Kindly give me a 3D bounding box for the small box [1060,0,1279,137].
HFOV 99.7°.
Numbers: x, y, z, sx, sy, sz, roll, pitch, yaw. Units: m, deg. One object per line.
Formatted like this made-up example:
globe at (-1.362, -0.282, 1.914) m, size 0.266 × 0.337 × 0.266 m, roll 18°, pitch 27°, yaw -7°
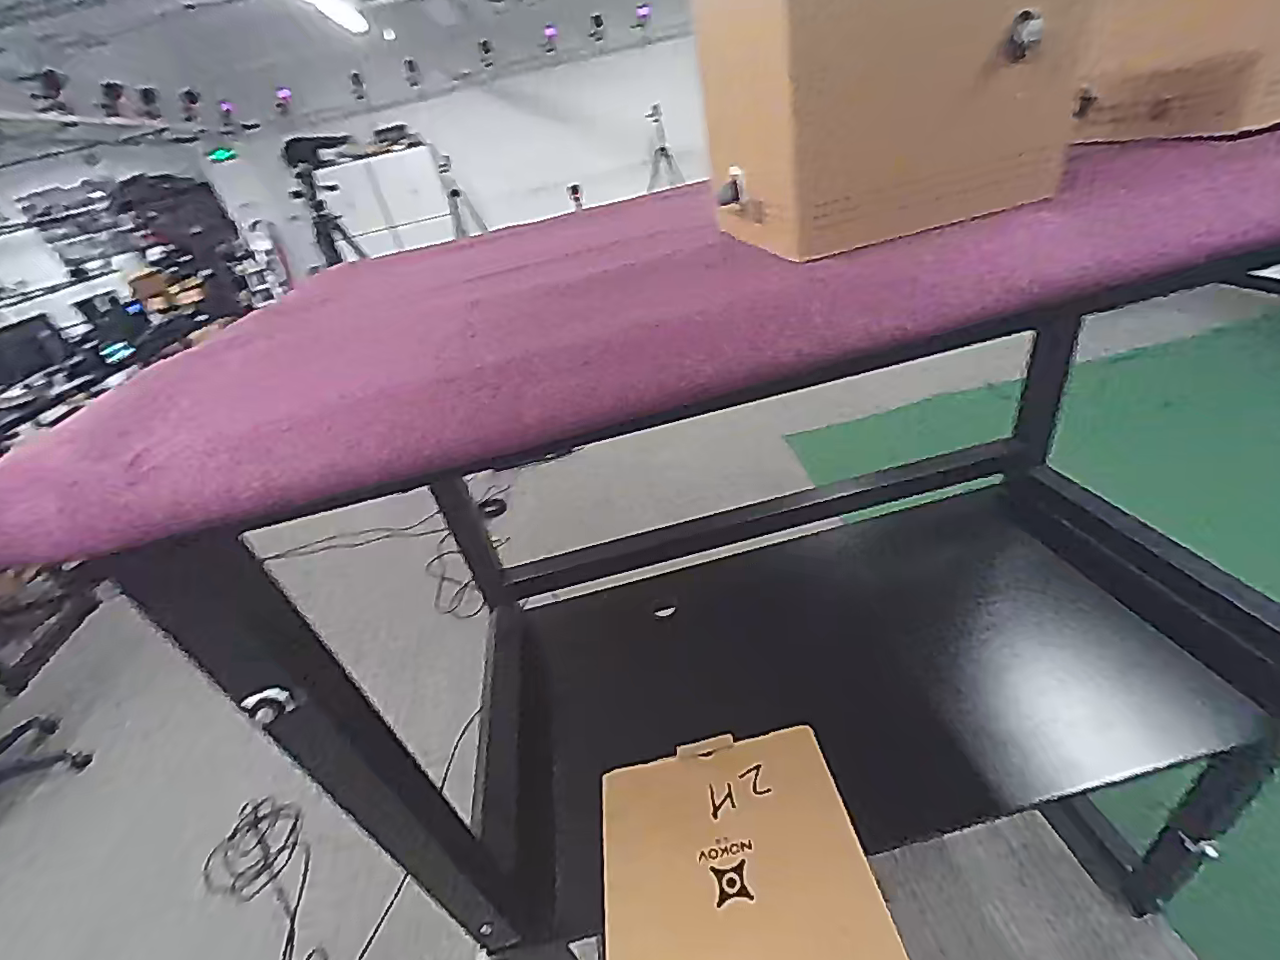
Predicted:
small box at (0.448, -0.360, 0.390) m, size 0.179 × 0.176 × 0.168 m, roll -14°, pitch 31°, yaw -1°
